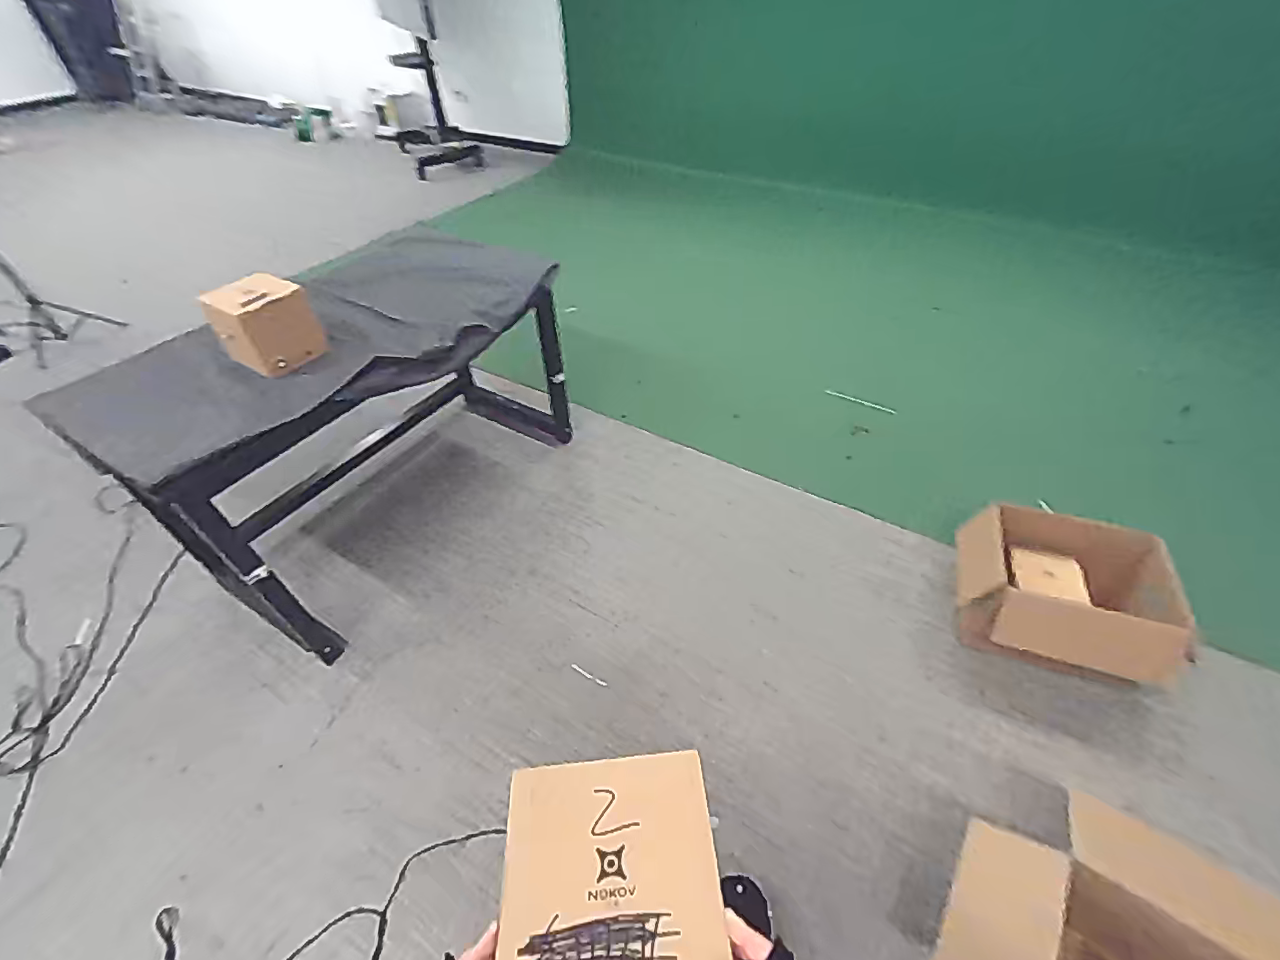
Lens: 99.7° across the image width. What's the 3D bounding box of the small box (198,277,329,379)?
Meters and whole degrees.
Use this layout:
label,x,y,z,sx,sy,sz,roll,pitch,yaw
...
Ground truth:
label,x,y,z,sx,sy,sz,roll,pitch,yaw
small box,-0.905,-0.367,1.318,0.179,0.176,0.168,23,49,23
